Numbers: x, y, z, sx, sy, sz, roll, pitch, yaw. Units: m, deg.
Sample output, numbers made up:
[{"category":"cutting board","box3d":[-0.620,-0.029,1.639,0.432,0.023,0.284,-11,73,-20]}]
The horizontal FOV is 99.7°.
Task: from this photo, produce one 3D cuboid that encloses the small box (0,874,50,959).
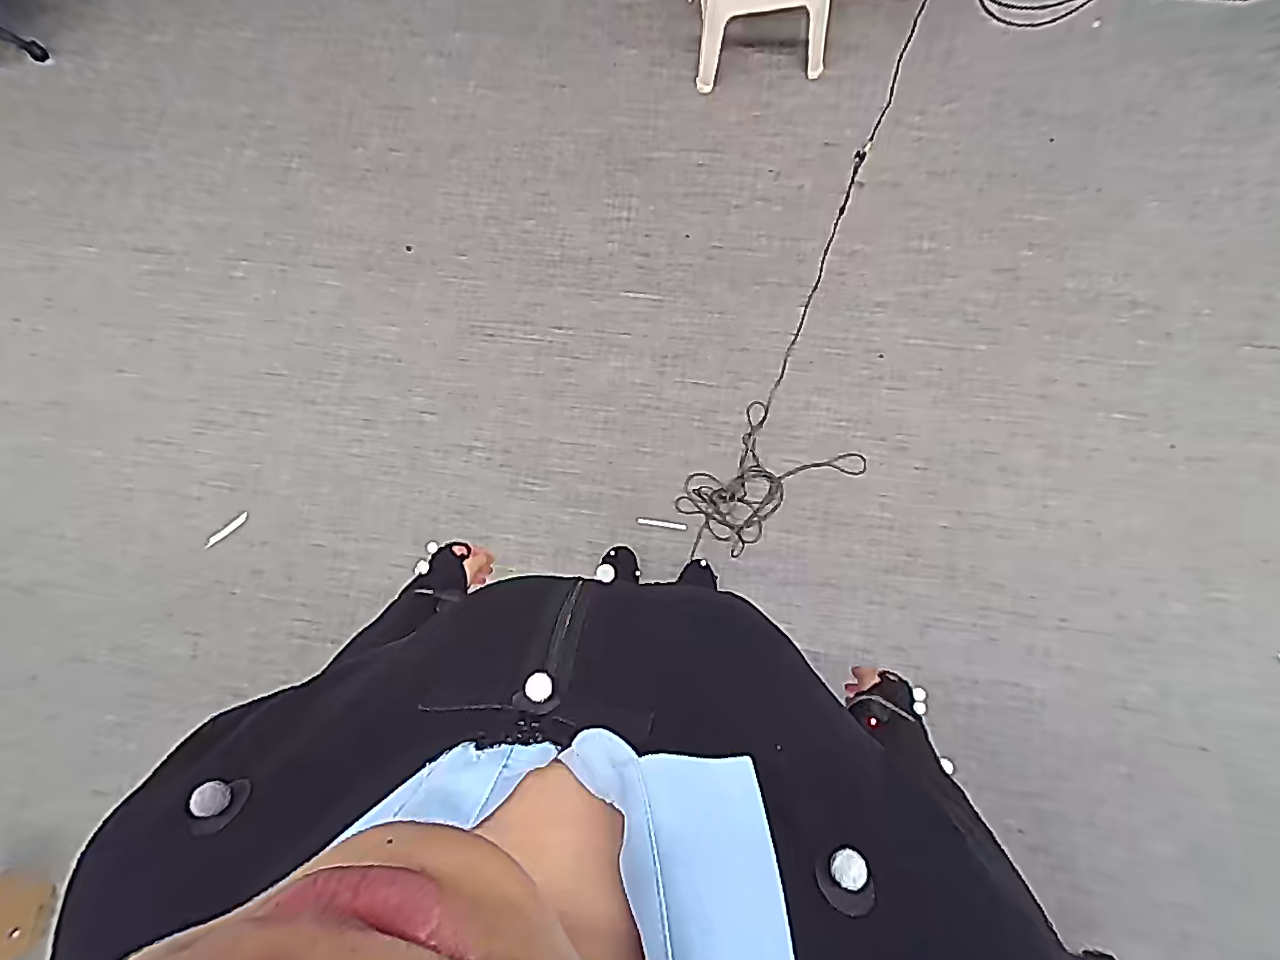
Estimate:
[{"category":"small box","box3d":[-1.764,1.198,1.450,0.179,0.176,0.168,5,82,6]}]
